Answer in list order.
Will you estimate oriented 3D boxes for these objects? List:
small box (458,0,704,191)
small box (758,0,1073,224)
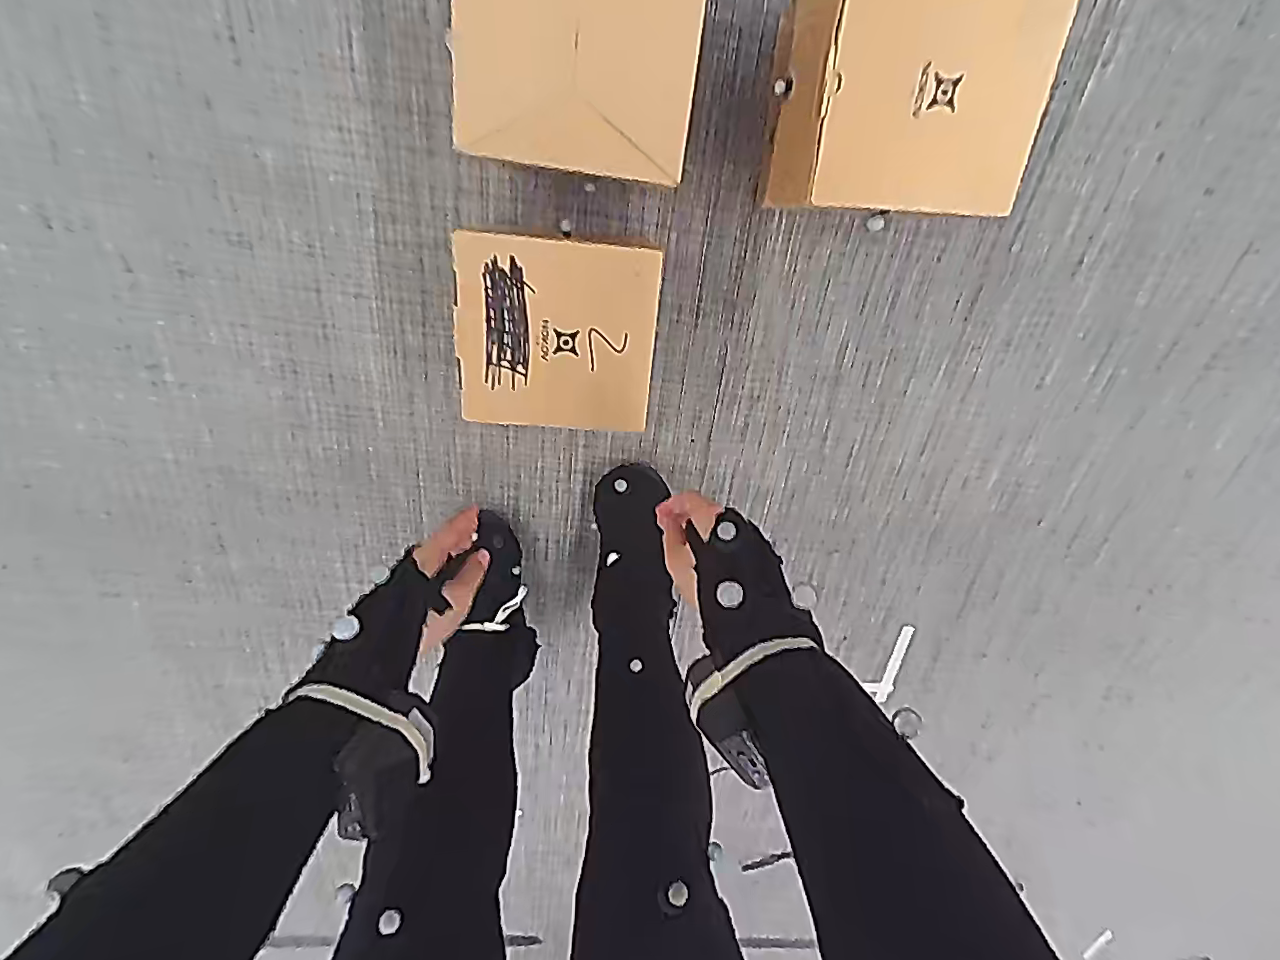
[{"bbox_3d":[-0.046,-0.348,0.459,0.179,0.176,0.168,5,116,-7],"label":"small box"},{"bbox_3d":[0.223,-0.331,0.490,0.179,0.176,0.168,1,117,-4],"label":"small box"}]
